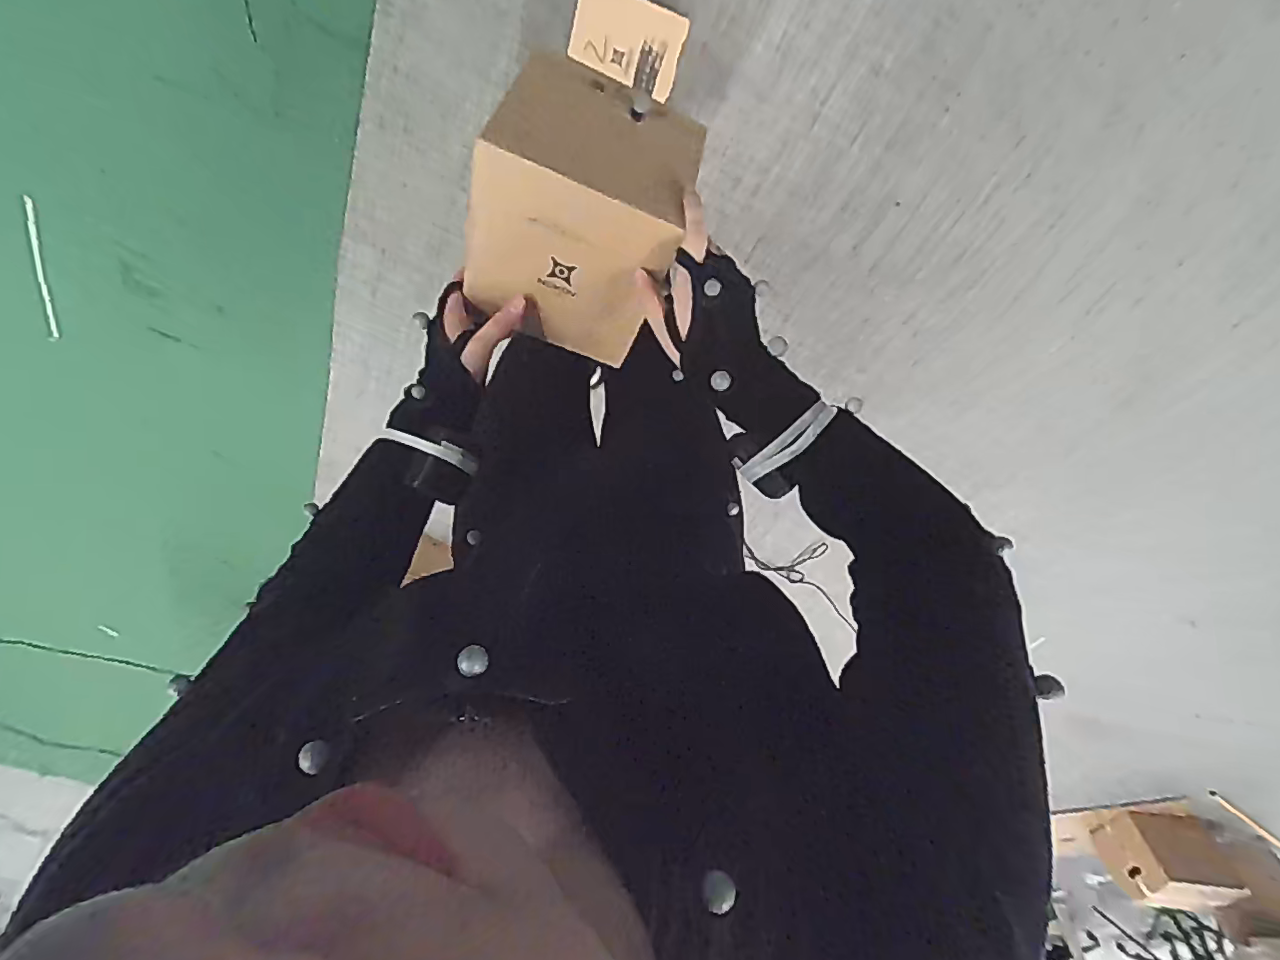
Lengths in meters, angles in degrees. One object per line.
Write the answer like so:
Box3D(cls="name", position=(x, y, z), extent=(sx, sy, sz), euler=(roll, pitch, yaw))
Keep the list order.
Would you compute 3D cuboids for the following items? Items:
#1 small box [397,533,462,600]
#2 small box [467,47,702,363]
Box3D(cls="small box", position=(-0.706, 0.305, 1.780), extent=(0.168, 0.176, 0.179), euler=(30, 124, -19))
Box3D(cls="small box", position=(-0.051, -0.253, 0.517), extent=(0.168, 0.176, 0.179), euler=(19, 147, -12))
